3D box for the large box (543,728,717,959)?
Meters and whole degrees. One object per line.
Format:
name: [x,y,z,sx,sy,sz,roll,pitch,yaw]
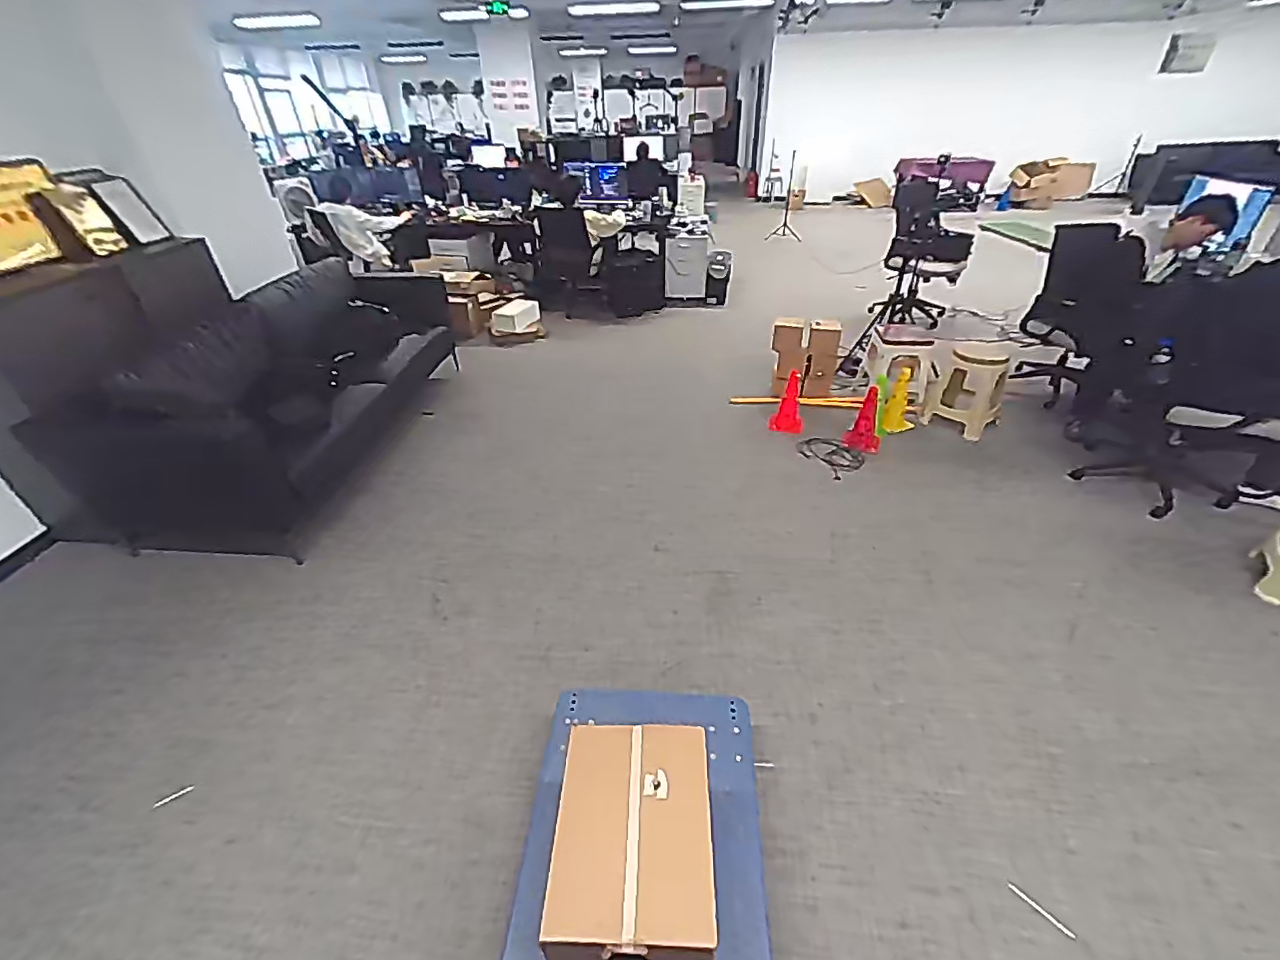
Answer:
large box: [-0.008,0.821,1.189,0.320,0.320,0.408,0,35,3]
